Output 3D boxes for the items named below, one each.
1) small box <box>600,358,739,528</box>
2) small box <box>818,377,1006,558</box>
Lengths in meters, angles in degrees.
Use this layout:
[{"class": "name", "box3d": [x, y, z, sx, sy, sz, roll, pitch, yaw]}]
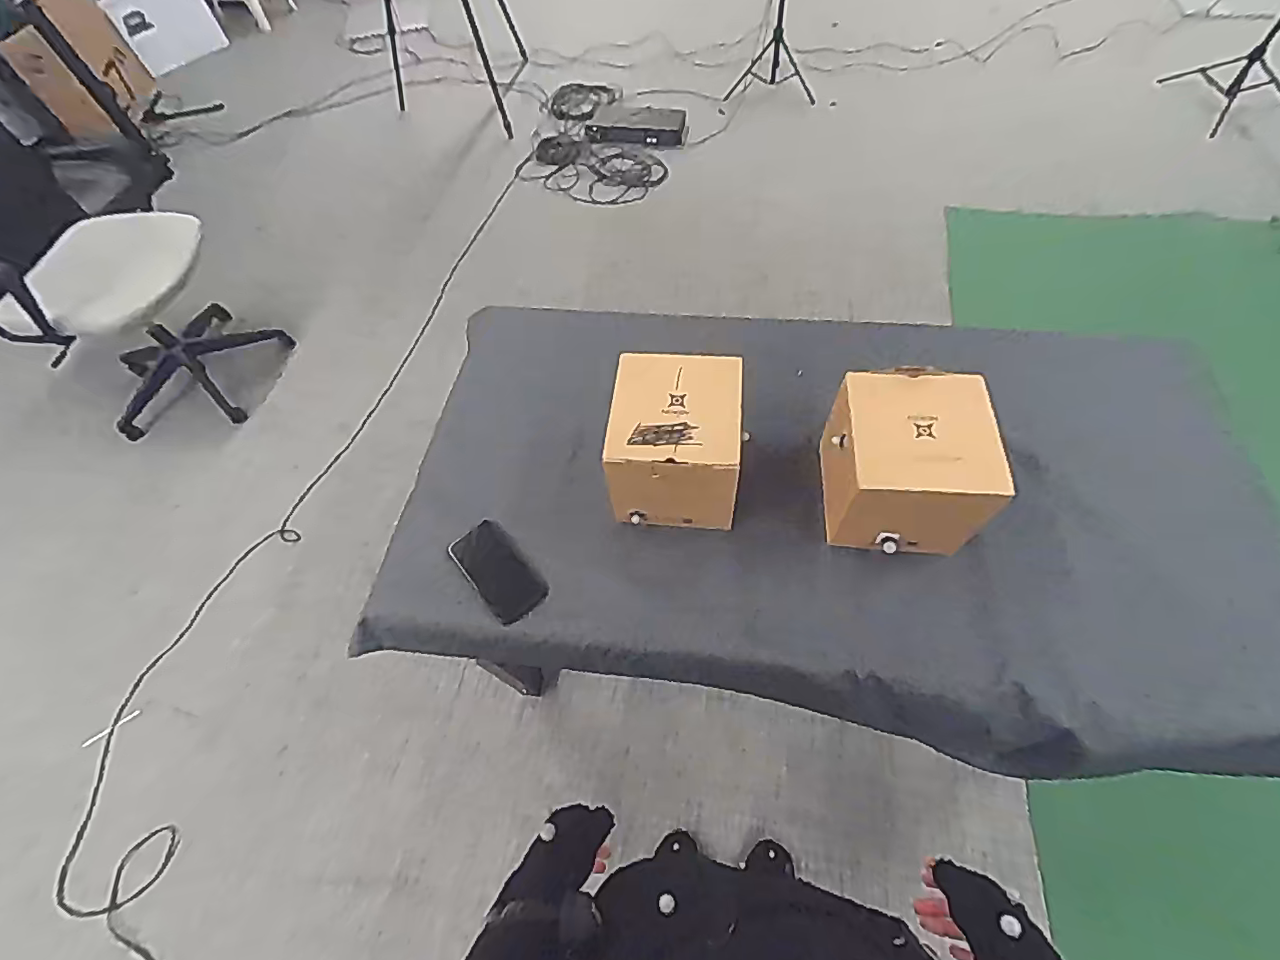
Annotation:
[{"class": "small box", "box3d": [0.048, -0.046, 0.754, 0.168, 0.176, 0.179, 4, 58, 6]}, {"class": "small box", "box3d": [0.338, -0.014, 0.716, 0.168, 0.176, 0.179, 2, 60, 7]}]
